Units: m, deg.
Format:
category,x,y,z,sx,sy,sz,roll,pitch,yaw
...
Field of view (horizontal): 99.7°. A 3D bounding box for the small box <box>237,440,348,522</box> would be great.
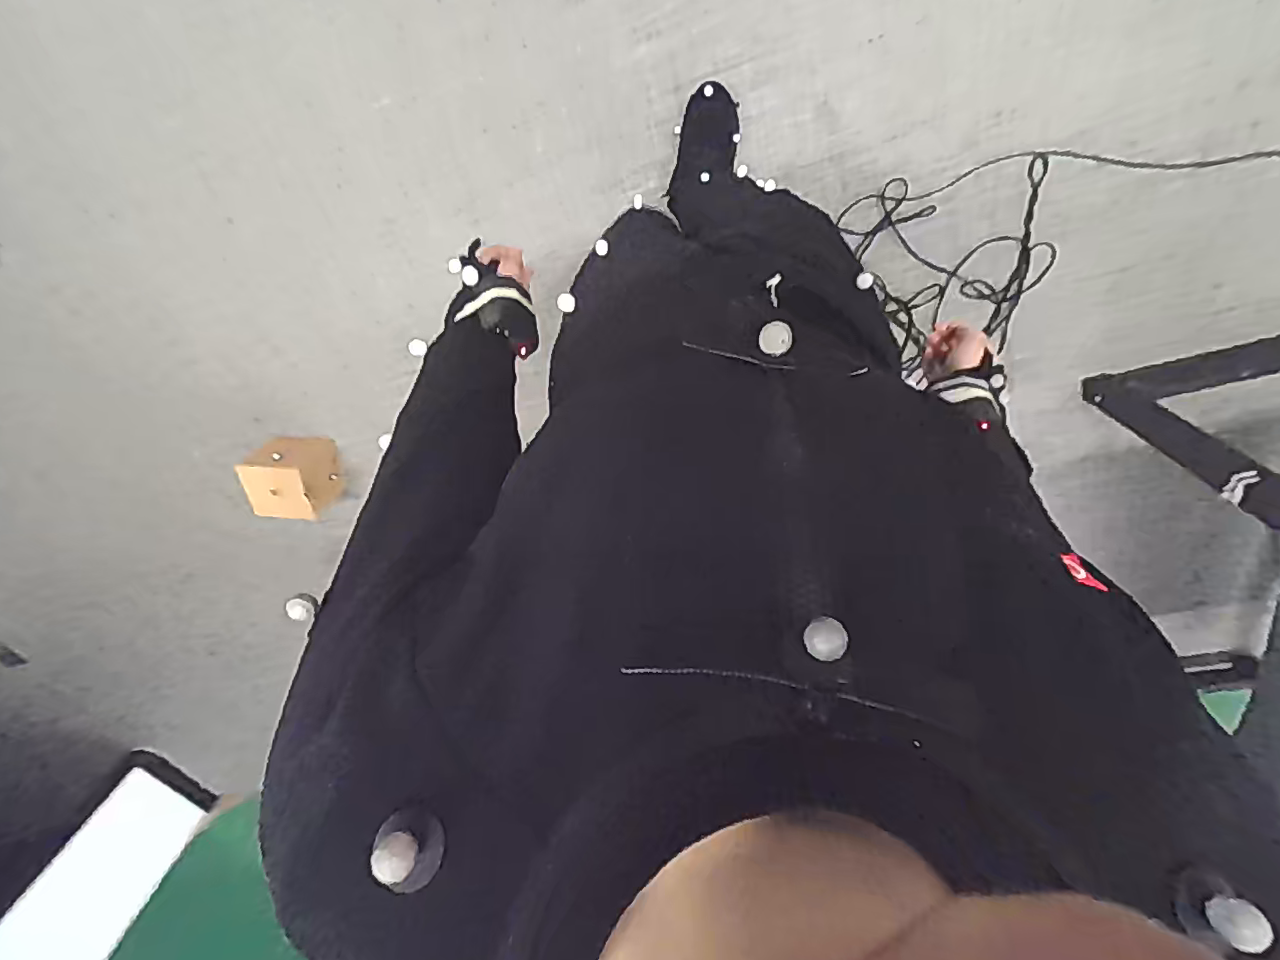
category,x,y,z,sx,sy,sz,roll,pitch,yaw
small box,-0.957,-0.003,1.506,0.179,0.176,0.168,3,123,4
